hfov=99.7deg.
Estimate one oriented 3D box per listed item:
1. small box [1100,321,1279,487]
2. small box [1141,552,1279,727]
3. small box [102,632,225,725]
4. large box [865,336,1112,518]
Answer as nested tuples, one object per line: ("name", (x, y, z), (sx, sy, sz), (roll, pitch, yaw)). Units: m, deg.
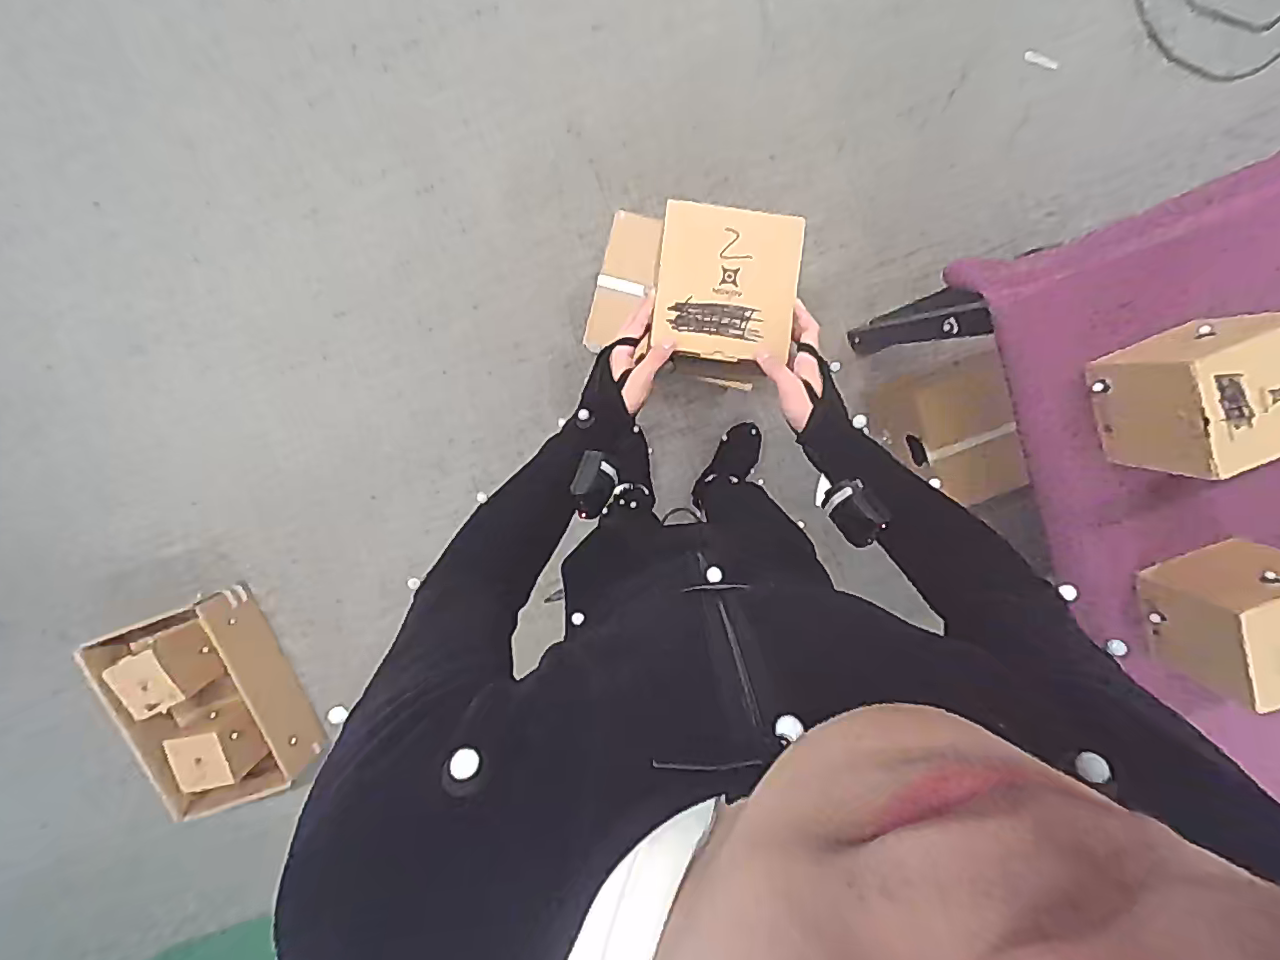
("small box", (0.788, -0.107, 0.746), (0.179, 0.176, 0.168), (-22, 100, 3))
("small box", (0.920, 0.225, 0.808), (0.179, 0.176, 0.168), (-19, 99, 3))
("small box", (-1.381, 0.567, 1.579), (0.168, 0.176, 0.179), (-24, 100, 4))
("large box", (0.880, -0.142, 1.414), (0.408, 0.320, 0.320), (-21, 100, 3))
